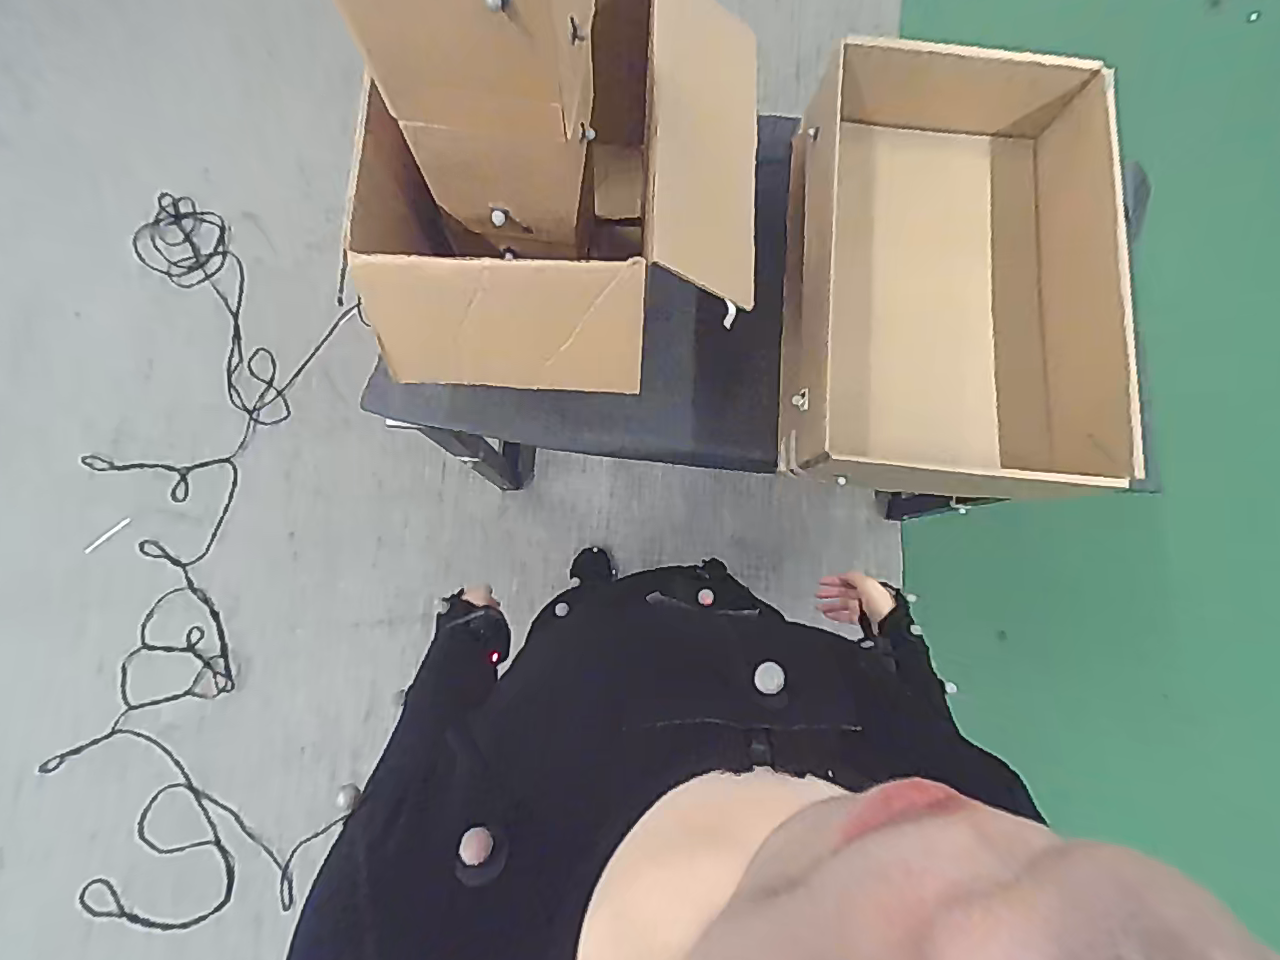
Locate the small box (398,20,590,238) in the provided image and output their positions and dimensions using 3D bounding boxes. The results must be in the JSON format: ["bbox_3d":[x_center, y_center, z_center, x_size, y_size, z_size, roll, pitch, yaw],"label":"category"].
[{"bbox_3d":[-0.149,-0.412,0.617,0.168,0.176,0.179,7,82,-2],"label":"small box"}]

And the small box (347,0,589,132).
[{"bbox_3d":[-0.143,-0.435,0.458,0.179,0.176,0.168,8,81,-2],"label":"small box"}]
